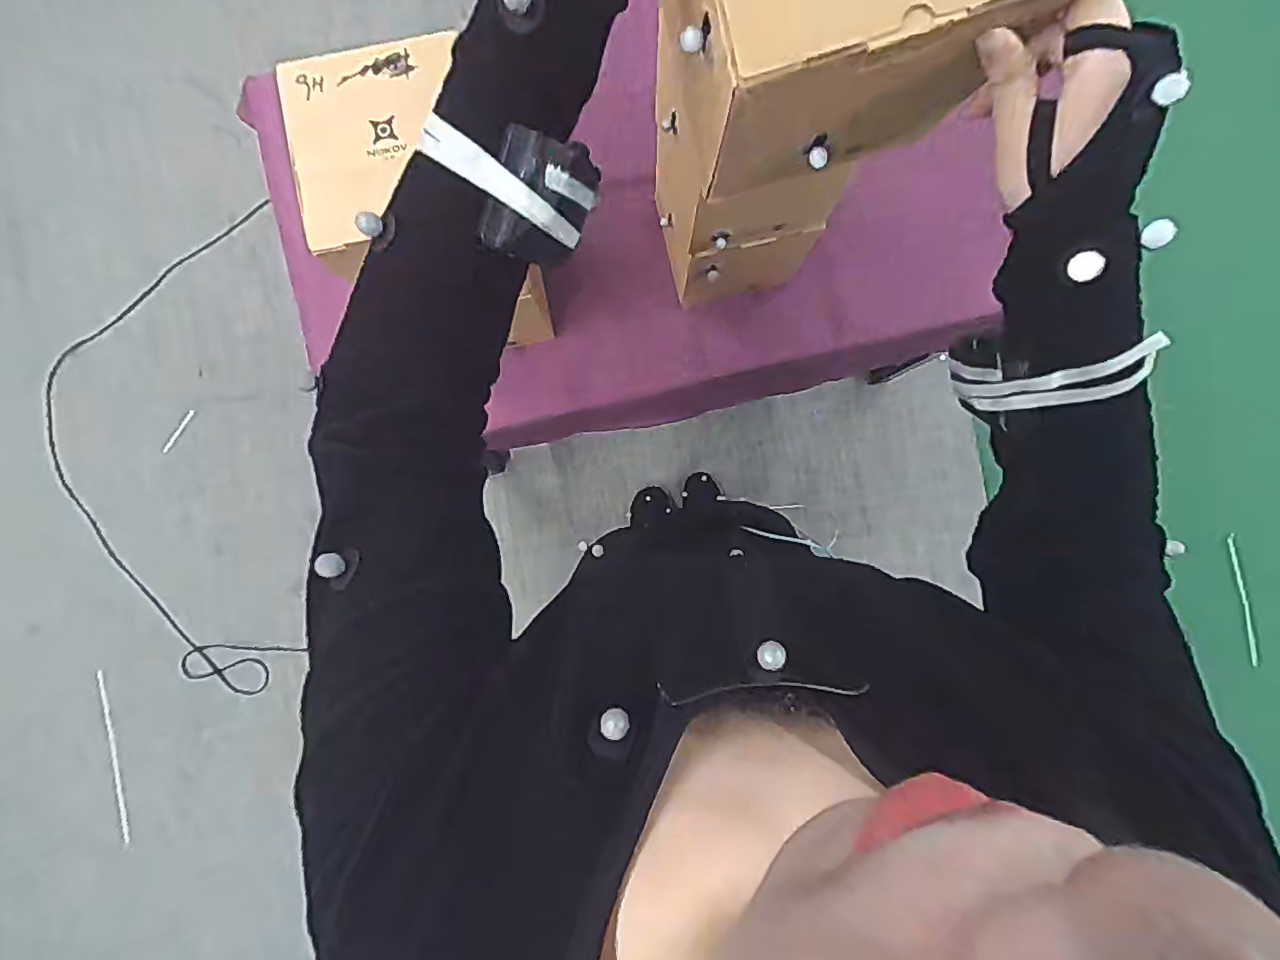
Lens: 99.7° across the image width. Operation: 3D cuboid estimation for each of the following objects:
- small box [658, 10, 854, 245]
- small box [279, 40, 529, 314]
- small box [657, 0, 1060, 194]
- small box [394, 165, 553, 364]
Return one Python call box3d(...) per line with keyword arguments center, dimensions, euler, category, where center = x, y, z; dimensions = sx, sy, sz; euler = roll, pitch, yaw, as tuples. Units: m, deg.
box3d(center=(0.116, -0.366, 0.557), dimensions=(0.168, 0.176, 0.179), euler=(-13, 86, -1), category="small box")
box3d(center=(-0.221, -0.285, 0.553), dimensions=(0.168, 0.176, 0.179), euler=(-12, 87, -1), category="small box")
box3d(center=(0.102, -0.299, 0.307), dimensions=(0.168, 0.176, 0.179), euler=(-15, 100, 4), category="small box")
box3d(center=(-0.221, -0.273, 0.717), dimensions=(0.168, 0.176, 0.179), euler=(-12, 87, 0), category="small box")
